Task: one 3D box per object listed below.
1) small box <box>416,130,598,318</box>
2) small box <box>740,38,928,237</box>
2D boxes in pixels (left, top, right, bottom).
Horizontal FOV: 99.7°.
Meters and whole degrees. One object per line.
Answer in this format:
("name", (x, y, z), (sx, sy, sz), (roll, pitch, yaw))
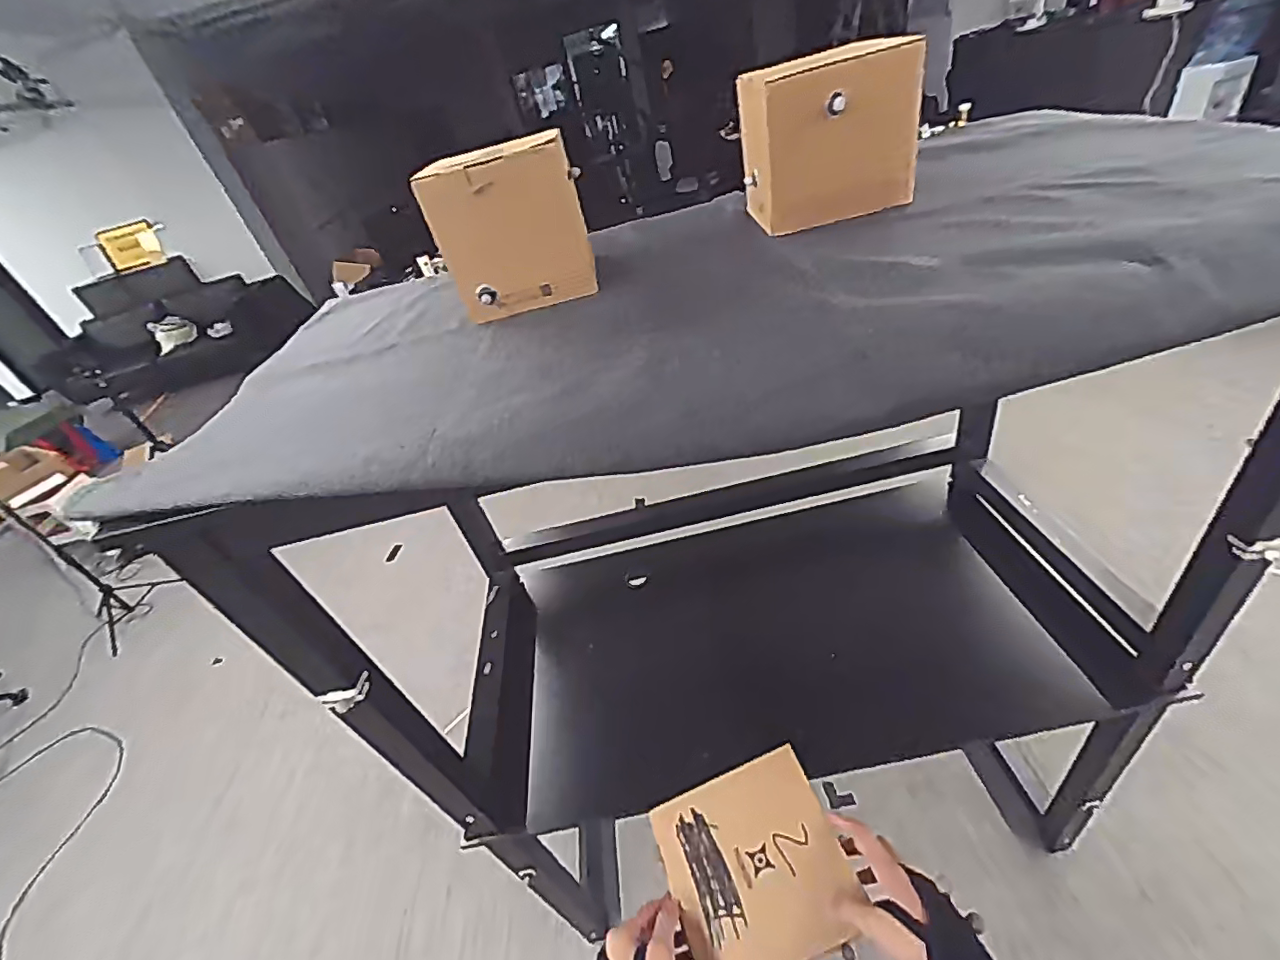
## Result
("small box", (-0.154, -0.323, 0.692), (0.168, 0.176, 0.179), (-14, 36, 3))
("small box", (0.236, -0.434, 0.689), (0.179, 0.176, 0.168), (-12, 37, 7))
